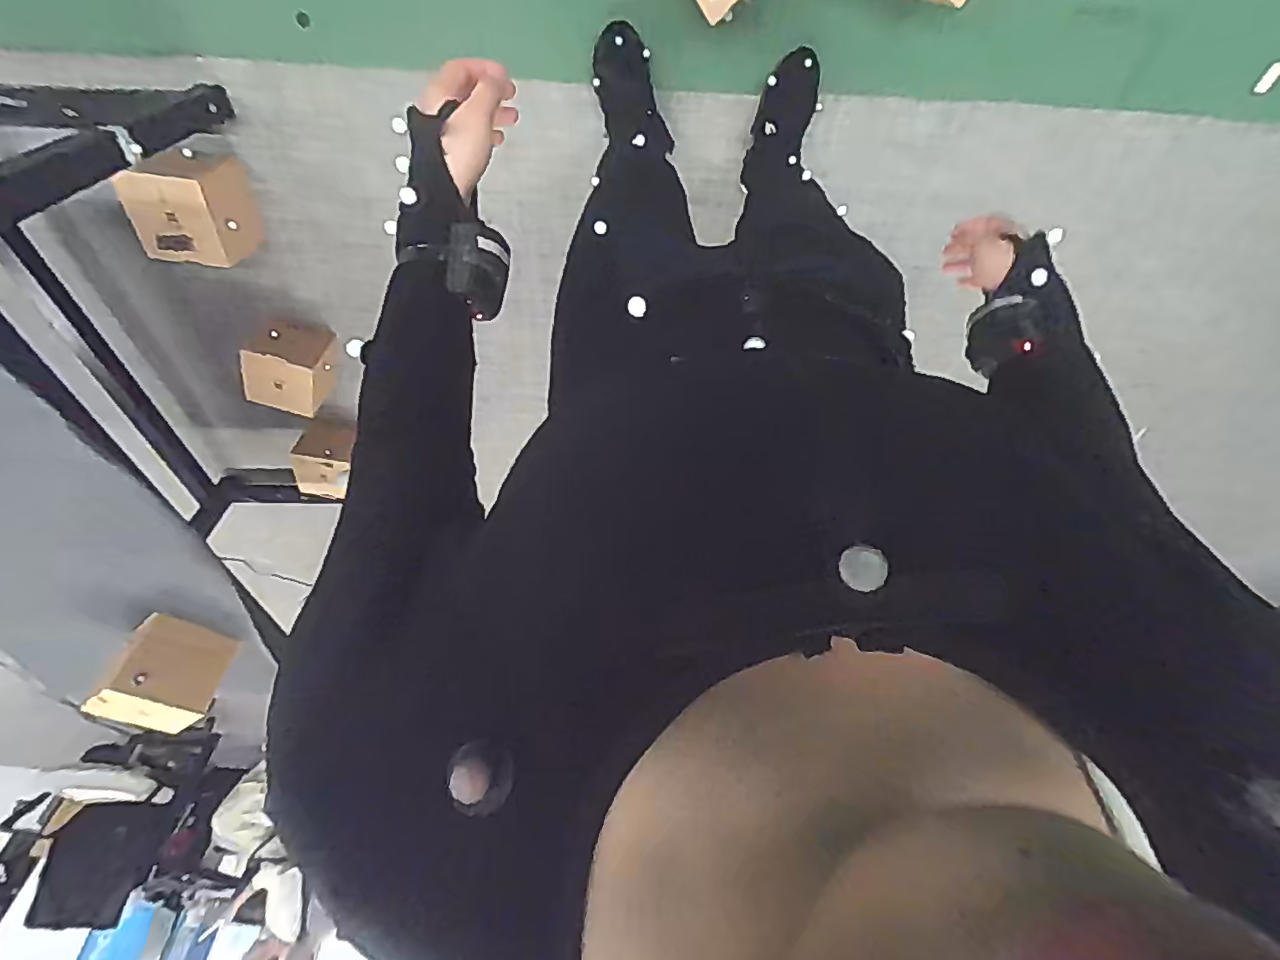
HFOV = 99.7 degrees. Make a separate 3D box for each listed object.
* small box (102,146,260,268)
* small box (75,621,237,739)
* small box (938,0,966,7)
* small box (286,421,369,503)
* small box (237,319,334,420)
[{"bbox_3d":[-0.953,-0.579,1.147,0.168,0.176,0.179,5,135,-7],"label":"small box"},{"bbox_3d":[-1.001,0.420,1.134,0.168,0.176,0.179,-30,129,27],"label":"small box"},{"bbox_3d":[0.467,-0.892,0.851,0.179,0.176,0.168,15,134,-17],"label":"small box"},{"bbox_3d":[-0.966,-0.057,1.688,0.168,0.176,0.179,10,136,-11],"label":"small box"},{"bbox_3d":[-0.935,-0.297,1.440,0.168,0.176,0.179,16,135,-16],"label":"small box"}]
